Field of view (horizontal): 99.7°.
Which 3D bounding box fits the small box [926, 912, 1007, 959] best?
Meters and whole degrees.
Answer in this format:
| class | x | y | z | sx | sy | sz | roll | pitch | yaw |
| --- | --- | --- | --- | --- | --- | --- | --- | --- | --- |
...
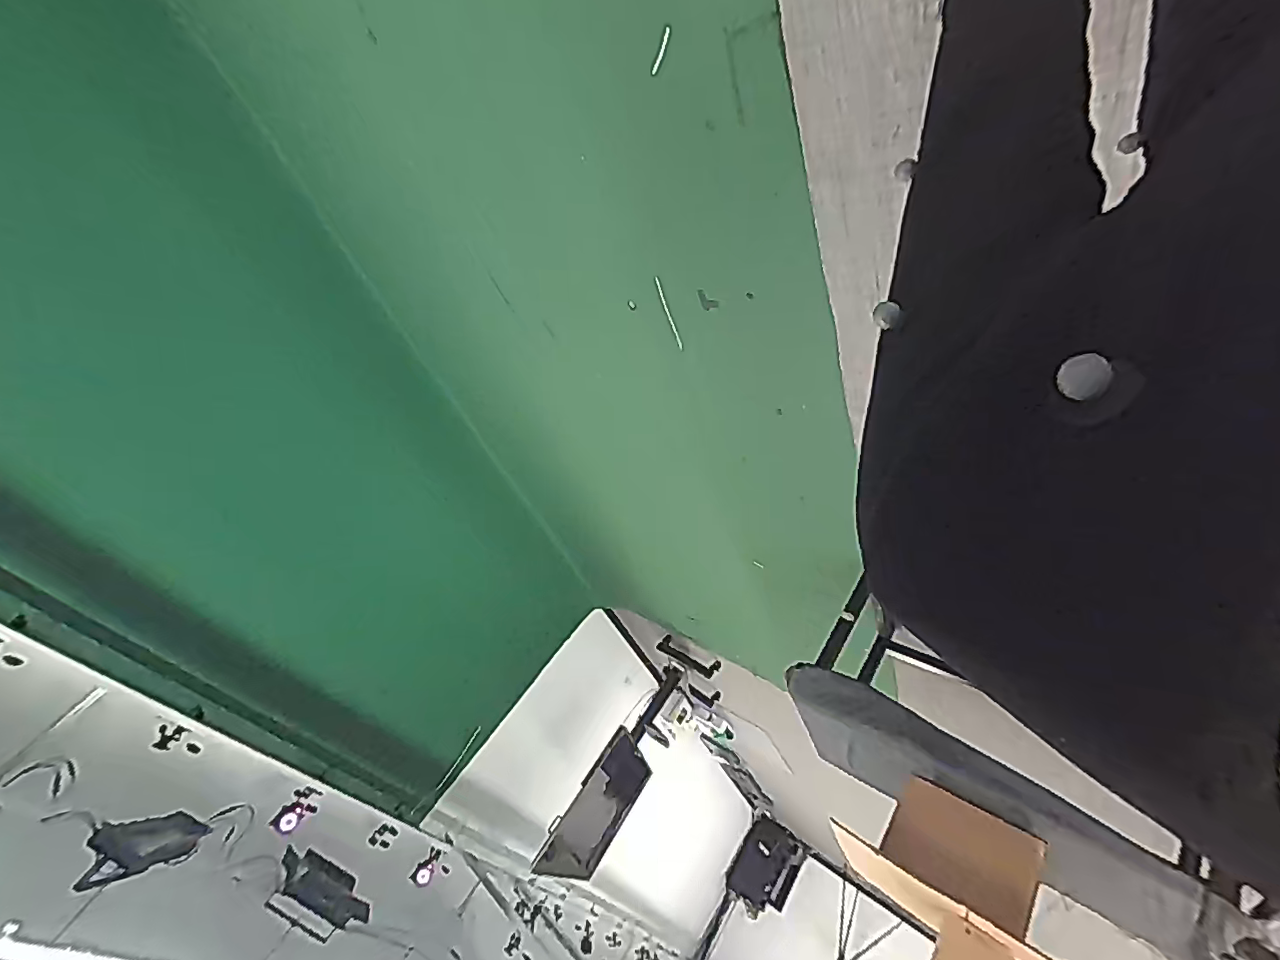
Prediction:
| class | x | y | z | sx | sy | sz | roll | pitch | yaw |
| --- | --- | --- | --- | --- | --- | --- | --- | --- | --- |
| small box | 0.927 | 1.388 | 1.540 | 0.168 | 0.176 | 0.179 | 15 | 143 | 41 |
